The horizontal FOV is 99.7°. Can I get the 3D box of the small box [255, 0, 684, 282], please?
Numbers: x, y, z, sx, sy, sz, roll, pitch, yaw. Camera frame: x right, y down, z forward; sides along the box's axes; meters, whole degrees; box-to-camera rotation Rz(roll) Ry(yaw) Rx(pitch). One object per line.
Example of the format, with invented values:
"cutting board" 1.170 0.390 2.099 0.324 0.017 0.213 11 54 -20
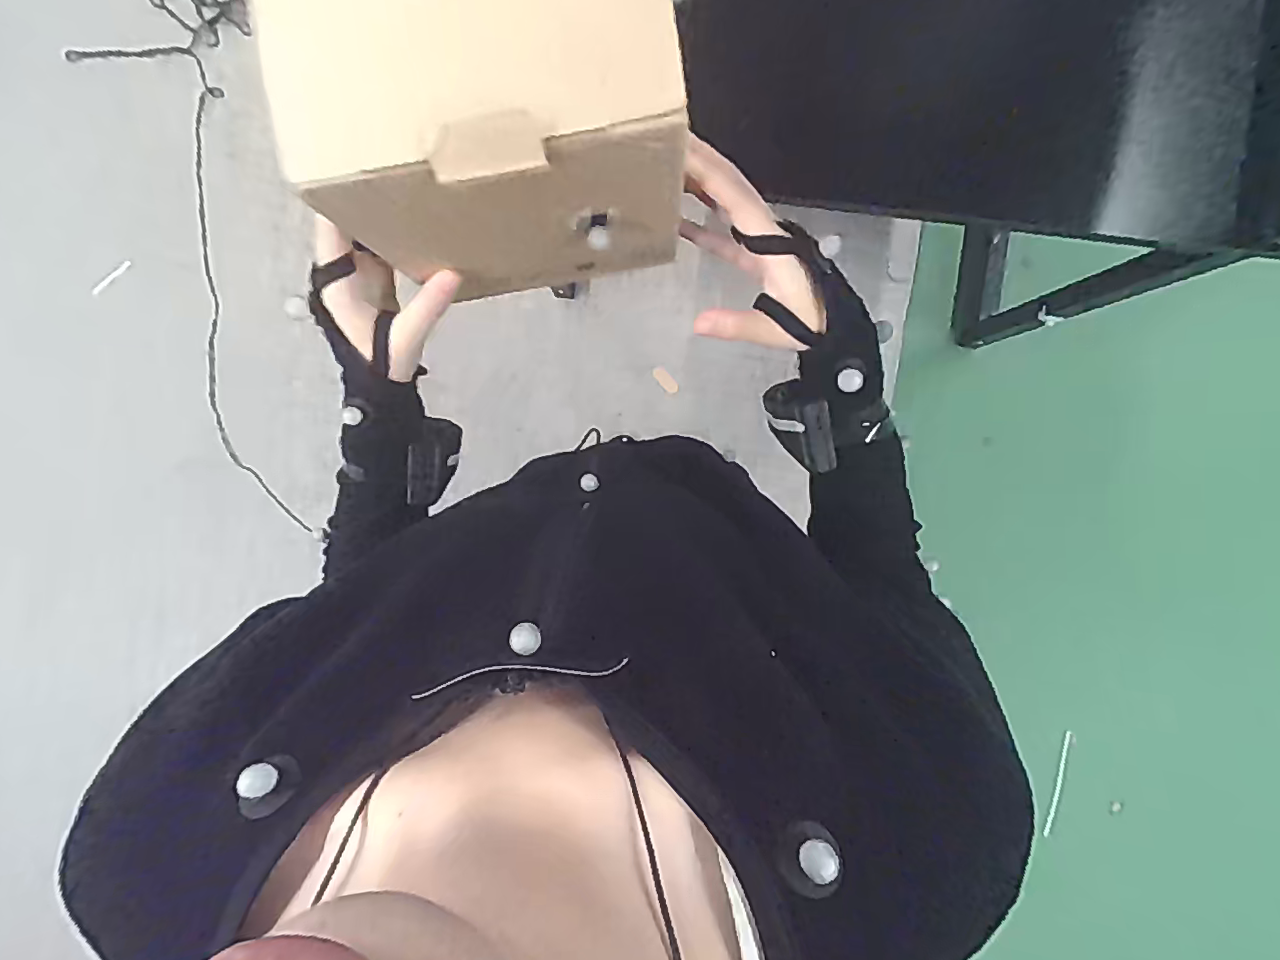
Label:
"small box" -0.072 -0.220 0.290 0.168 0.176 0.179 -9 92 0
